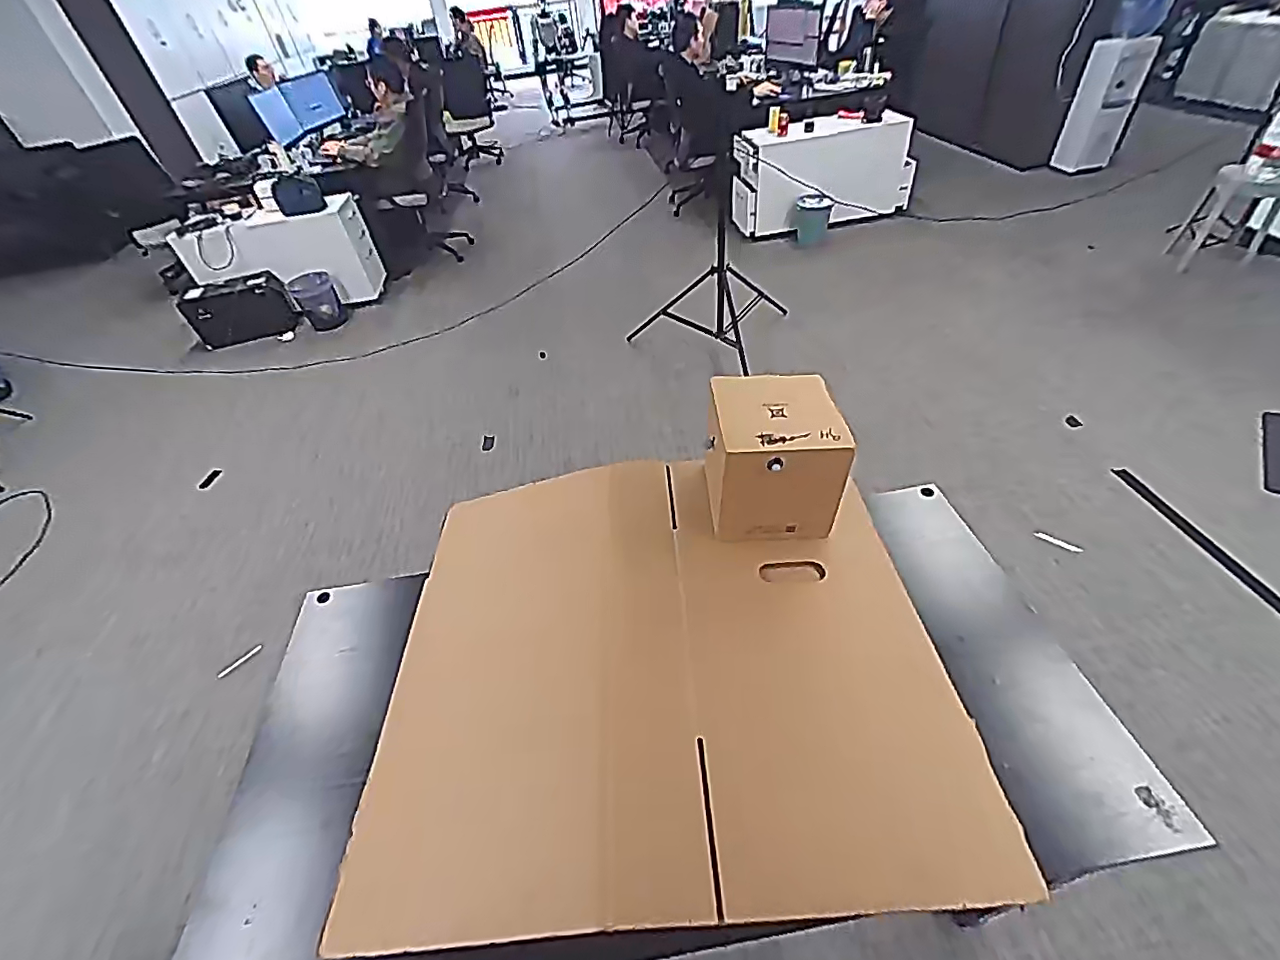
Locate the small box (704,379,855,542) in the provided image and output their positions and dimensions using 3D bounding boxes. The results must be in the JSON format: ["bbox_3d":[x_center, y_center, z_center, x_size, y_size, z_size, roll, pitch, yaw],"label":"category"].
[{"bbox_3d":[0.186,-0.030,0.783,0.168,0.176,0.179,-2,41,0],"label":"small box"}]
